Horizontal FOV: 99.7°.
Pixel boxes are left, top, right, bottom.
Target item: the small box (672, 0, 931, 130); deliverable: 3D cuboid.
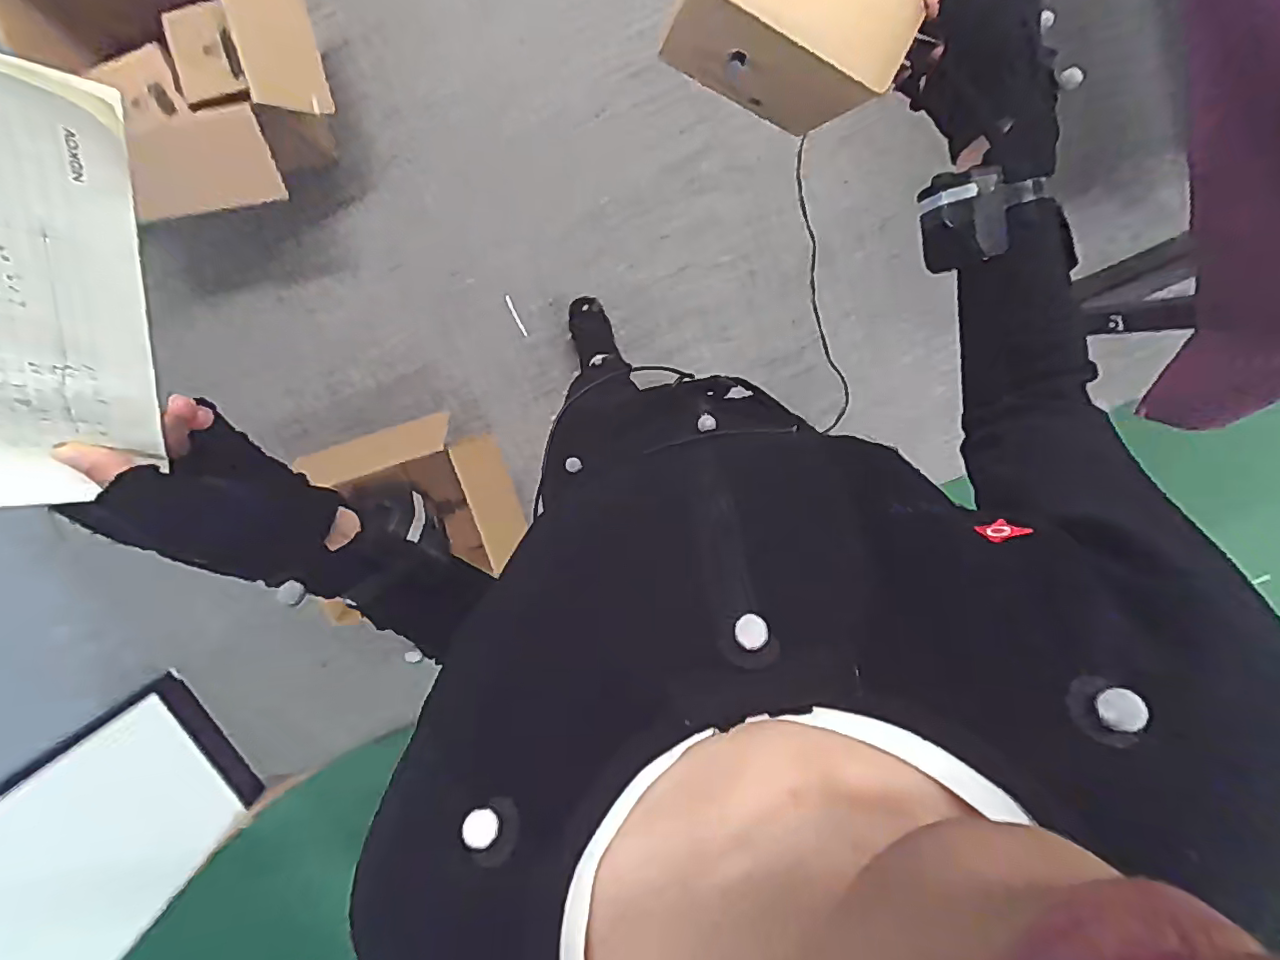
[{"bbox_3d":[0.137,-0.423,0.438,0.168,0.176,0.179,19,107,-15],"label":"small box"}]
